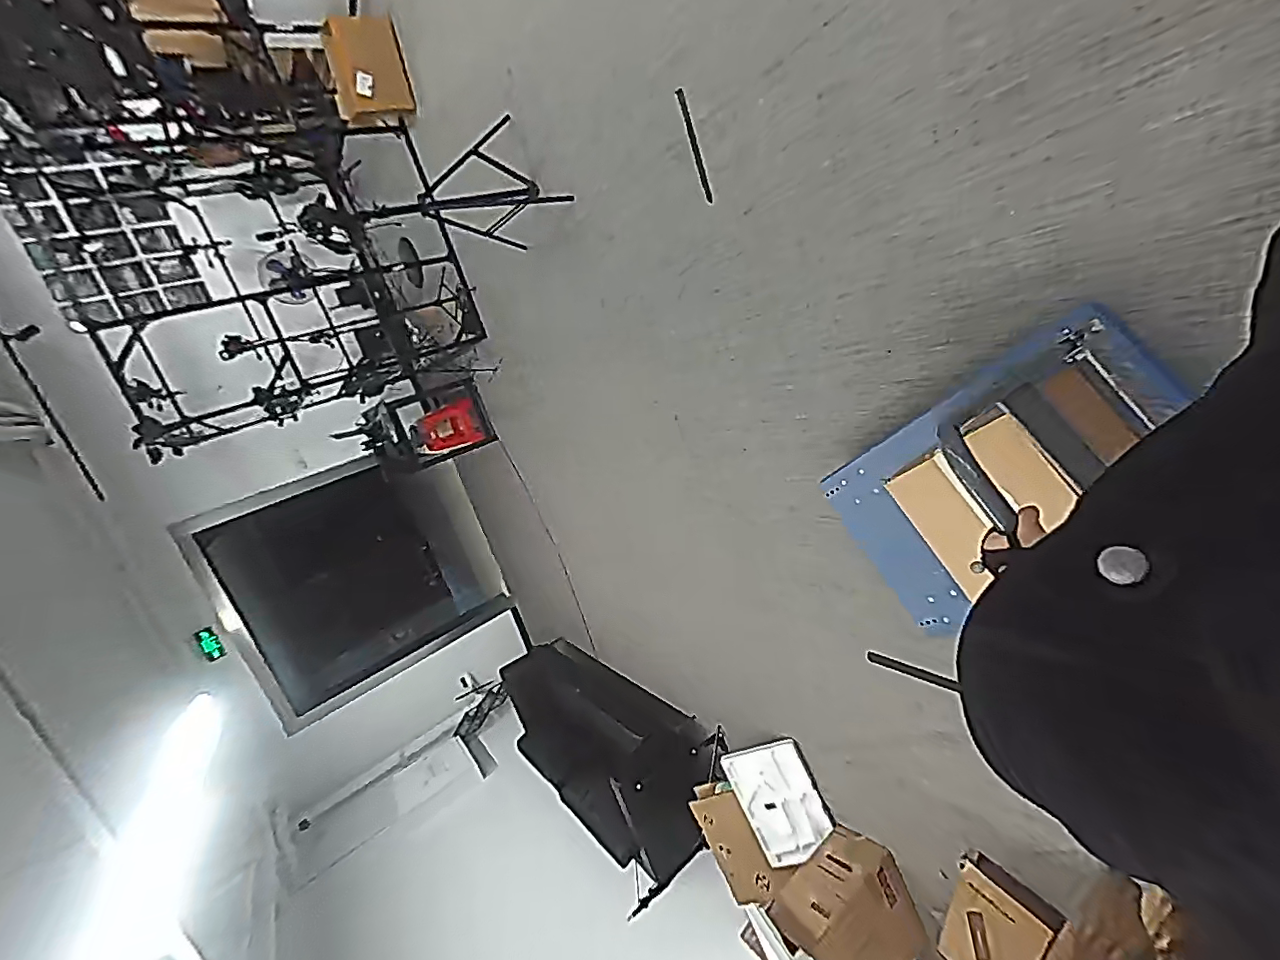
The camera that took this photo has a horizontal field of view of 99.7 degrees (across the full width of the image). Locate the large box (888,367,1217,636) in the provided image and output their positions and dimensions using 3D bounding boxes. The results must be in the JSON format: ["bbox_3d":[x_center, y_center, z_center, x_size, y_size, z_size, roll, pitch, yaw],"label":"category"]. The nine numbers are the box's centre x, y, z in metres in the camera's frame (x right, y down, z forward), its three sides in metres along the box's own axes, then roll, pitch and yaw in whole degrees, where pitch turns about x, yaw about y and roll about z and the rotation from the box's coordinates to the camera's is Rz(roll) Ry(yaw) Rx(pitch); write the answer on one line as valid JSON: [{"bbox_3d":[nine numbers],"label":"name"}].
[{"bbox_3d":[0.825,0.046,1.114,0.408,0.320,0.320,57,149,12],"label":"large box"}]
